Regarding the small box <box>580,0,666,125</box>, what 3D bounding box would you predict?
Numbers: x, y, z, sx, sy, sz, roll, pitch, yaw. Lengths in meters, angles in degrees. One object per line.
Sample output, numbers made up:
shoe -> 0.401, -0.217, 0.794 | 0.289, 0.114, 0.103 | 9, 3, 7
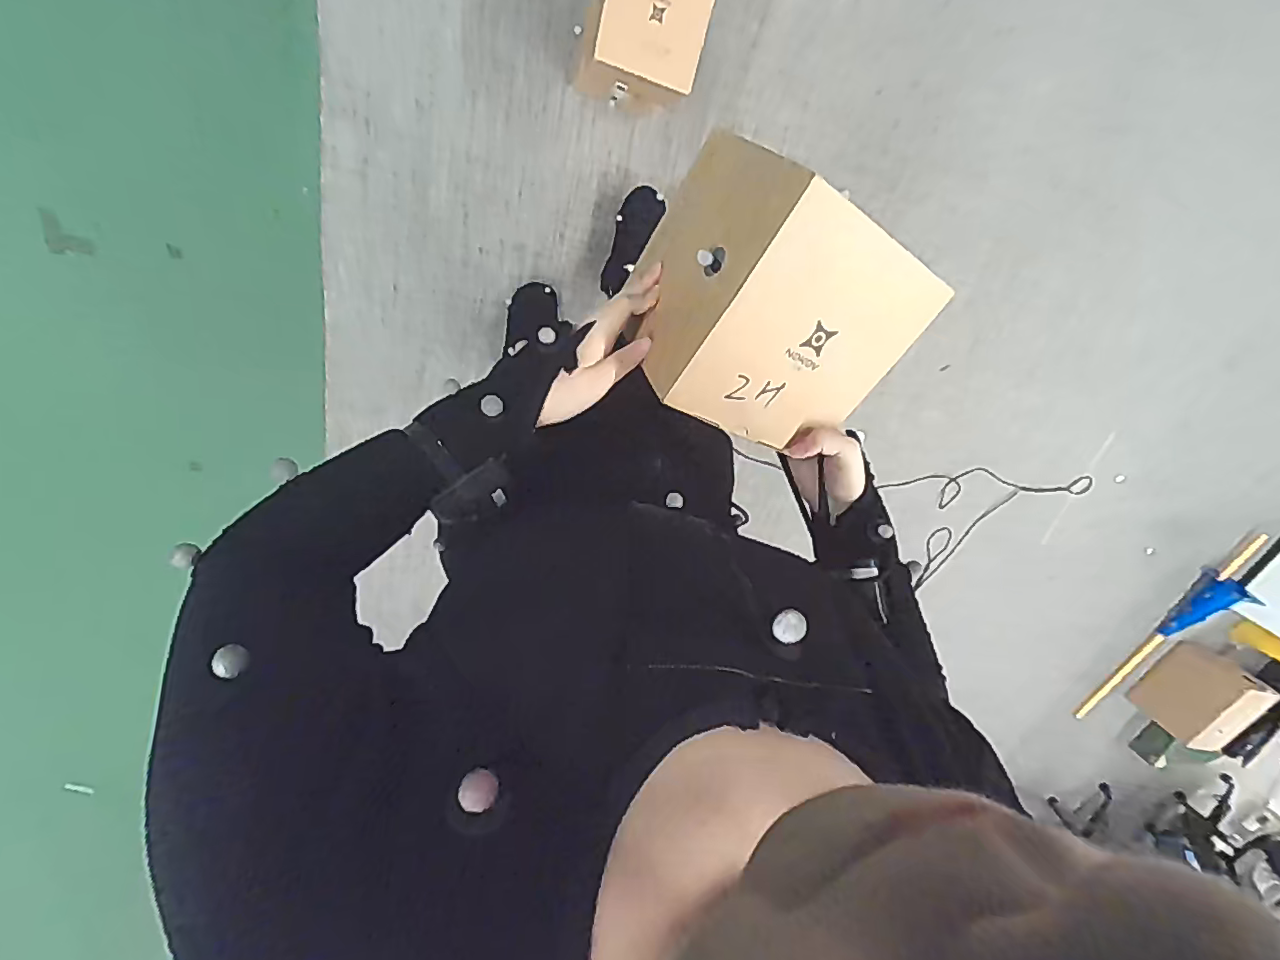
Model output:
small box -> -0.014, -0.814, 1.044 | 0.168, 0.176, 0.179 | 12, 115, -18

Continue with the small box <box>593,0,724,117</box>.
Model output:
small box -> 0.022, -0.739, 0.904 | 0.168, 0.176, 0.179 | 9, 115, -16
